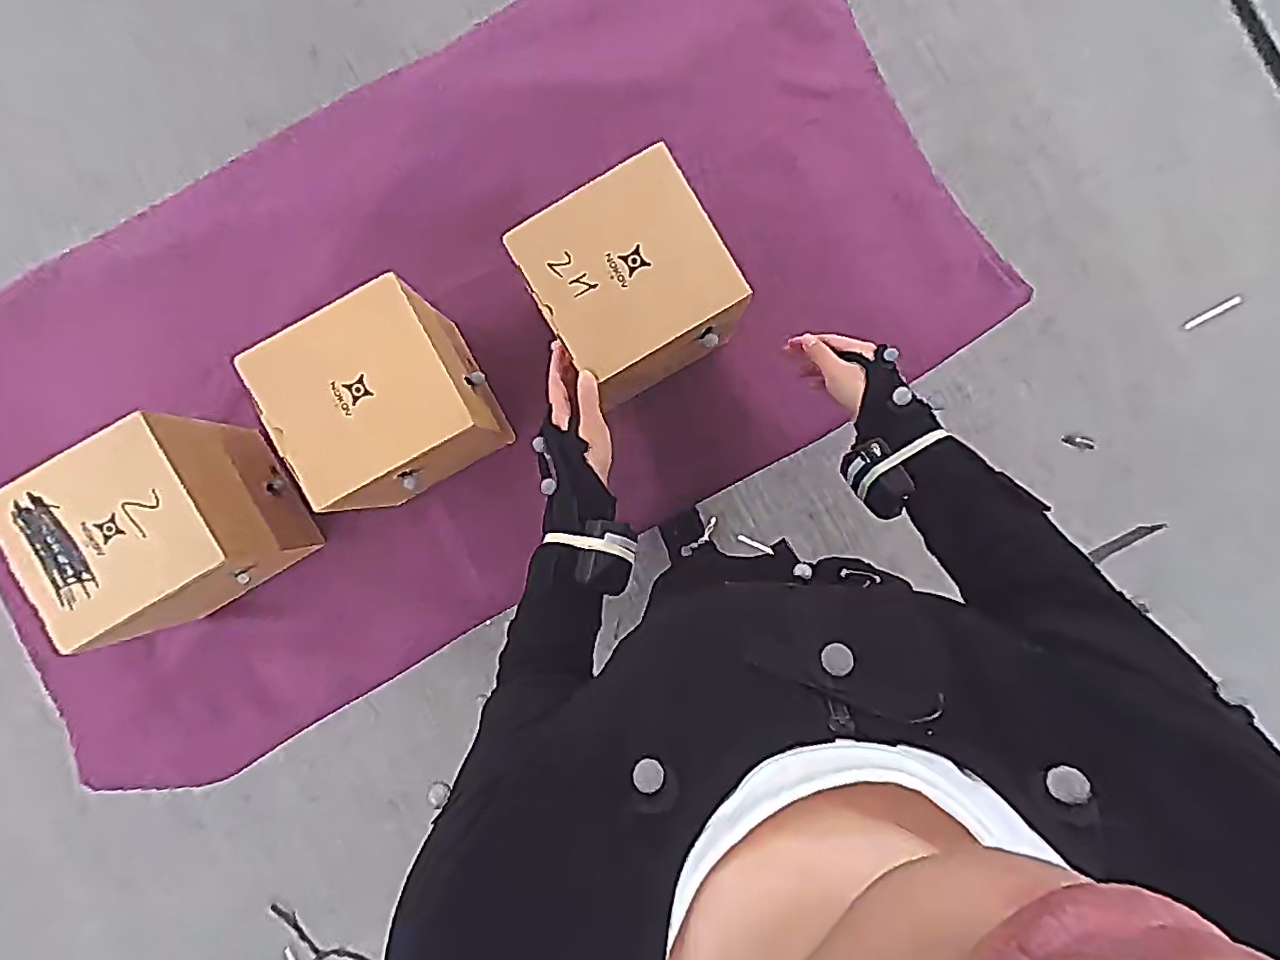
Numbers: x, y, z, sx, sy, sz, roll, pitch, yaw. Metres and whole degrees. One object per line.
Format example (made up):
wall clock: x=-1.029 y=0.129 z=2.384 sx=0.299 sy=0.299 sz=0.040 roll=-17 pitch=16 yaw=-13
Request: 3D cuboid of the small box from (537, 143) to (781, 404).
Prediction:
small box: x=0.017 y=-0.197 z=0.568 sx=0.179 sy=0.176 sz=0.168 roll=-27 pitch=89 yaw=0

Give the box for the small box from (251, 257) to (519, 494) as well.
small box: x=-0.243 y=-0.097 z=0.571 sx=0.179 sy=0.176 sz=0.168 roll=-26 pitch=90 yaw=0
